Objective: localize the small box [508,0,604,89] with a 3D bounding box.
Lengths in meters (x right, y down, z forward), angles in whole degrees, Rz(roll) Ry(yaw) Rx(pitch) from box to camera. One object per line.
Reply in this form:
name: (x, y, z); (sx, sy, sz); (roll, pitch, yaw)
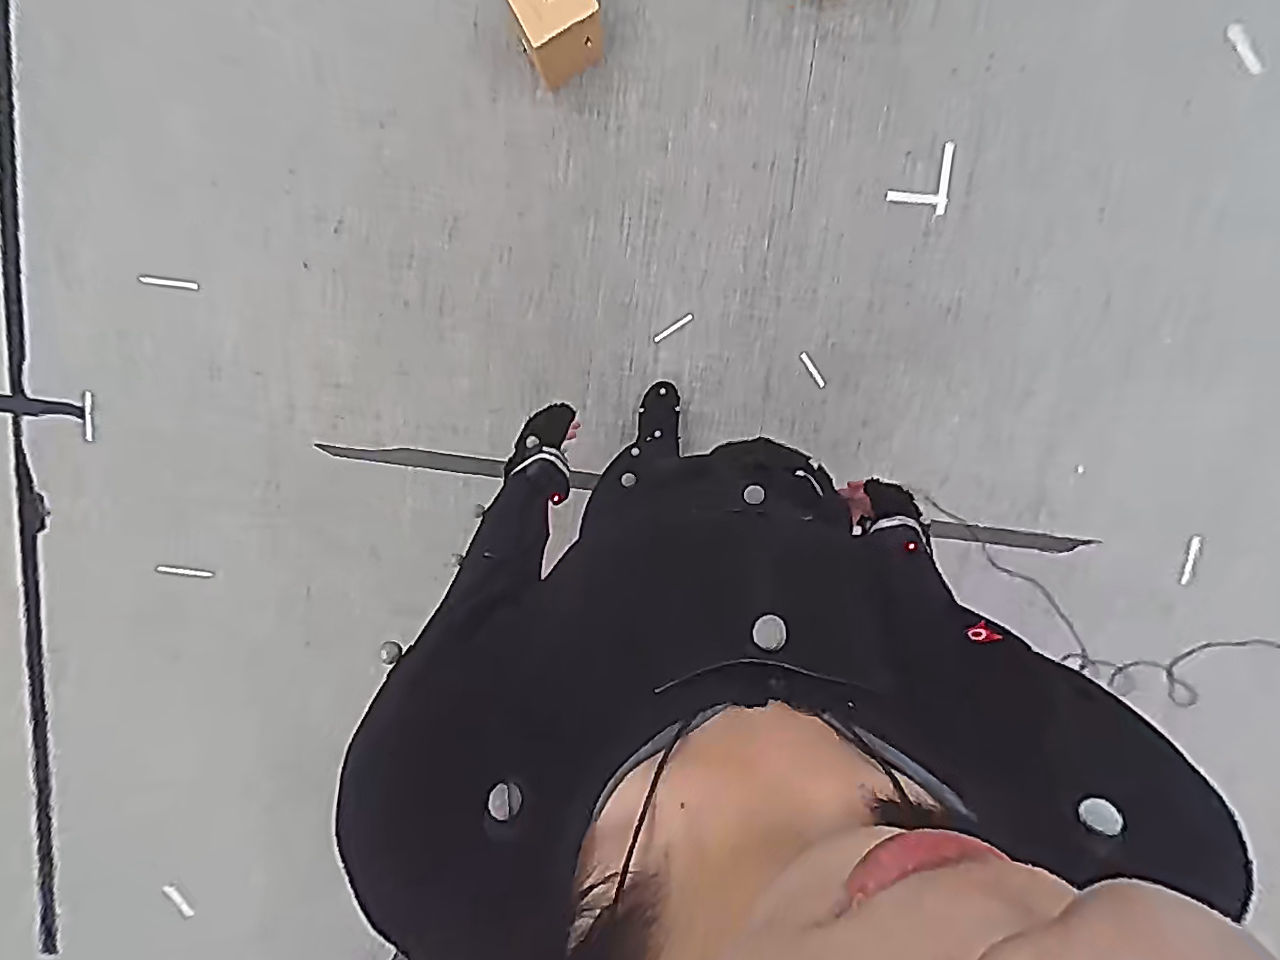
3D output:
small box: (-0.197, -1.092, 1.286); (0.179, 0.176, 0.168); (-30, 95, 5)
